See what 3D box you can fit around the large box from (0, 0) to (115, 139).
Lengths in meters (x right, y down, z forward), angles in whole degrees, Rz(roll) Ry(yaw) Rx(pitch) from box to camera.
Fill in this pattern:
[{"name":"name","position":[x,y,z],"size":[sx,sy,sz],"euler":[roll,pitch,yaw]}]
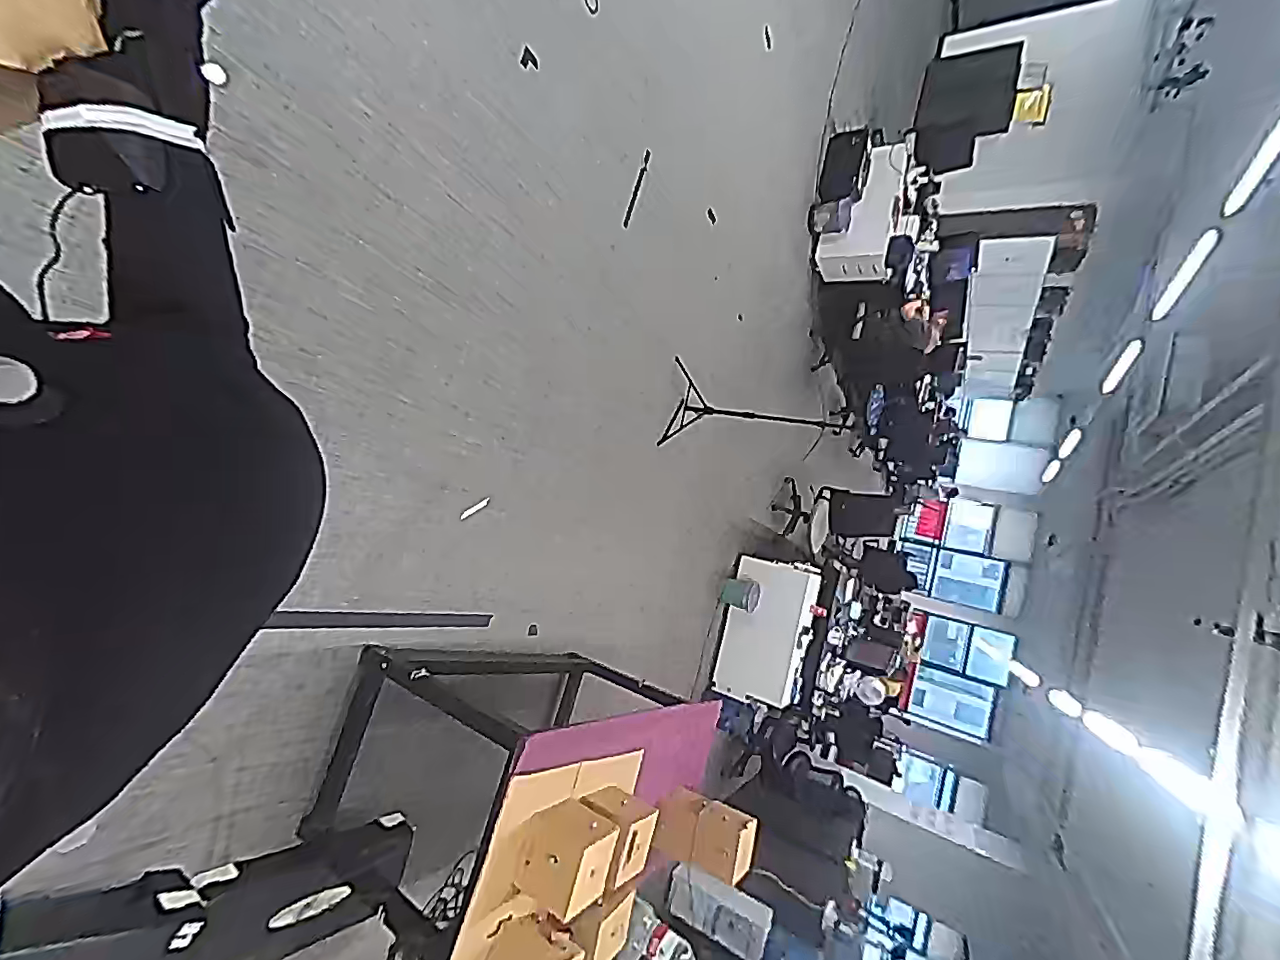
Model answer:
[{"name":"large box","position":[-0.575,-0.393,0.237],"size":[0.408,0.320,0.320],"euler":[-19,121,-55]}]
